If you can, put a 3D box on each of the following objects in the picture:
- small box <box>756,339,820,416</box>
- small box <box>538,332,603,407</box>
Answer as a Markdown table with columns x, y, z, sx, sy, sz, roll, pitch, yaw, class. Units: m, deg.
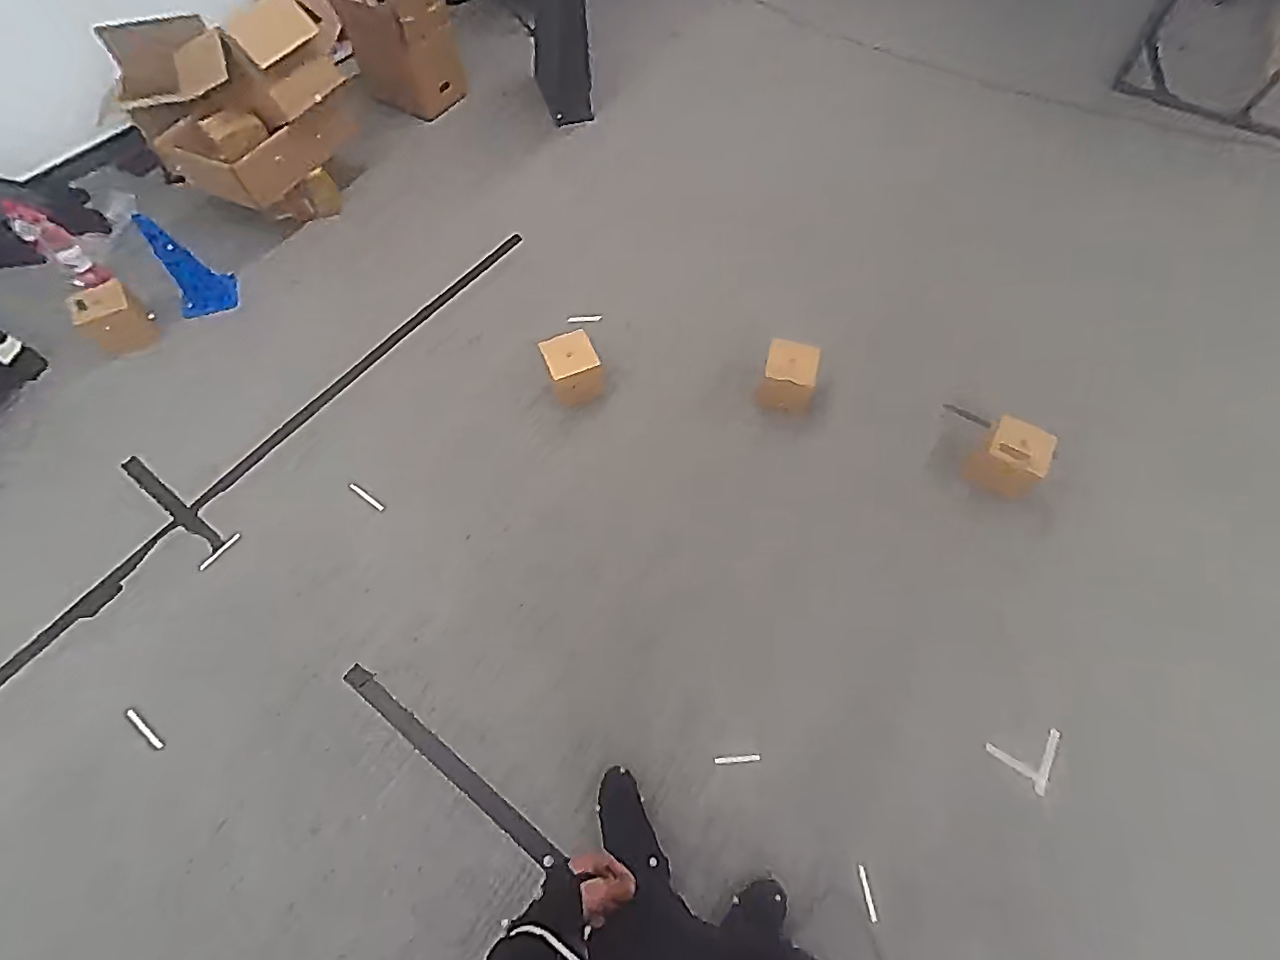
| x | y | z | sx | sy | sz | roll | pitch | yaw | class |
| --- | --- | --- | --- | --- | --- | --- | --- | --- | --- |
| 0.506 | -0.350 | 1.864 | 0.168 | 0.176 | 0.179 | 14 | 63 | 8 | small box |
| -0.237 | -0.376 | 1.879 | 0.168 | 0.176 | 0.179 | -22 | 64 | -10 | small box |
